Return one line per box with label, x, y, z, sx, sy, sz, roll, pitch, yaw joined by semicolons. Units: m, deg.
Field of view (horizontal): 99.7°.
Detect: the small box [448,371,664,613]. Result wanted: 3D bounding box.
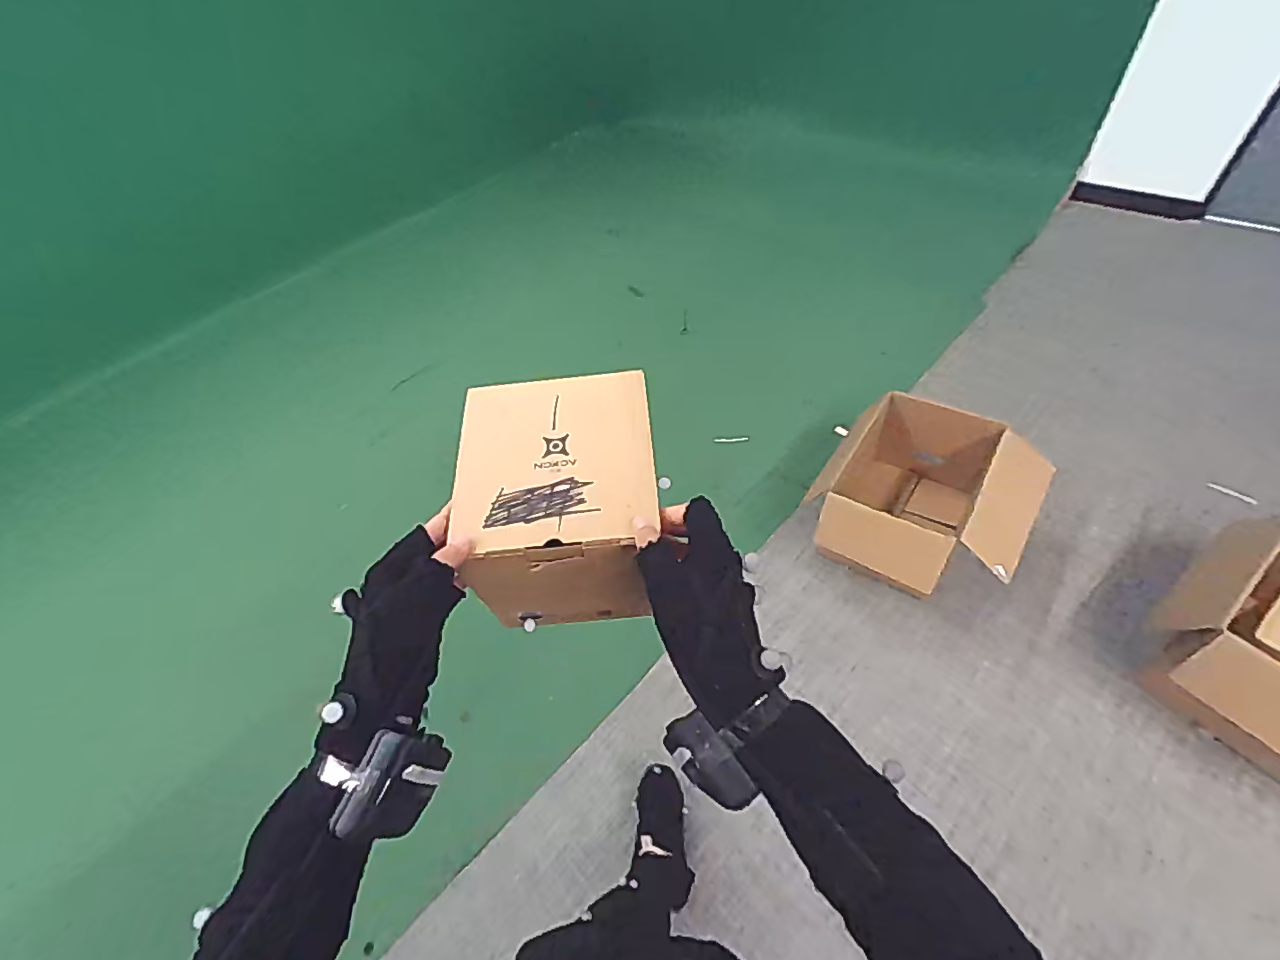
small box;-0.065;0.021;0.525;0.168;0.176;0.179;-4;55;1
